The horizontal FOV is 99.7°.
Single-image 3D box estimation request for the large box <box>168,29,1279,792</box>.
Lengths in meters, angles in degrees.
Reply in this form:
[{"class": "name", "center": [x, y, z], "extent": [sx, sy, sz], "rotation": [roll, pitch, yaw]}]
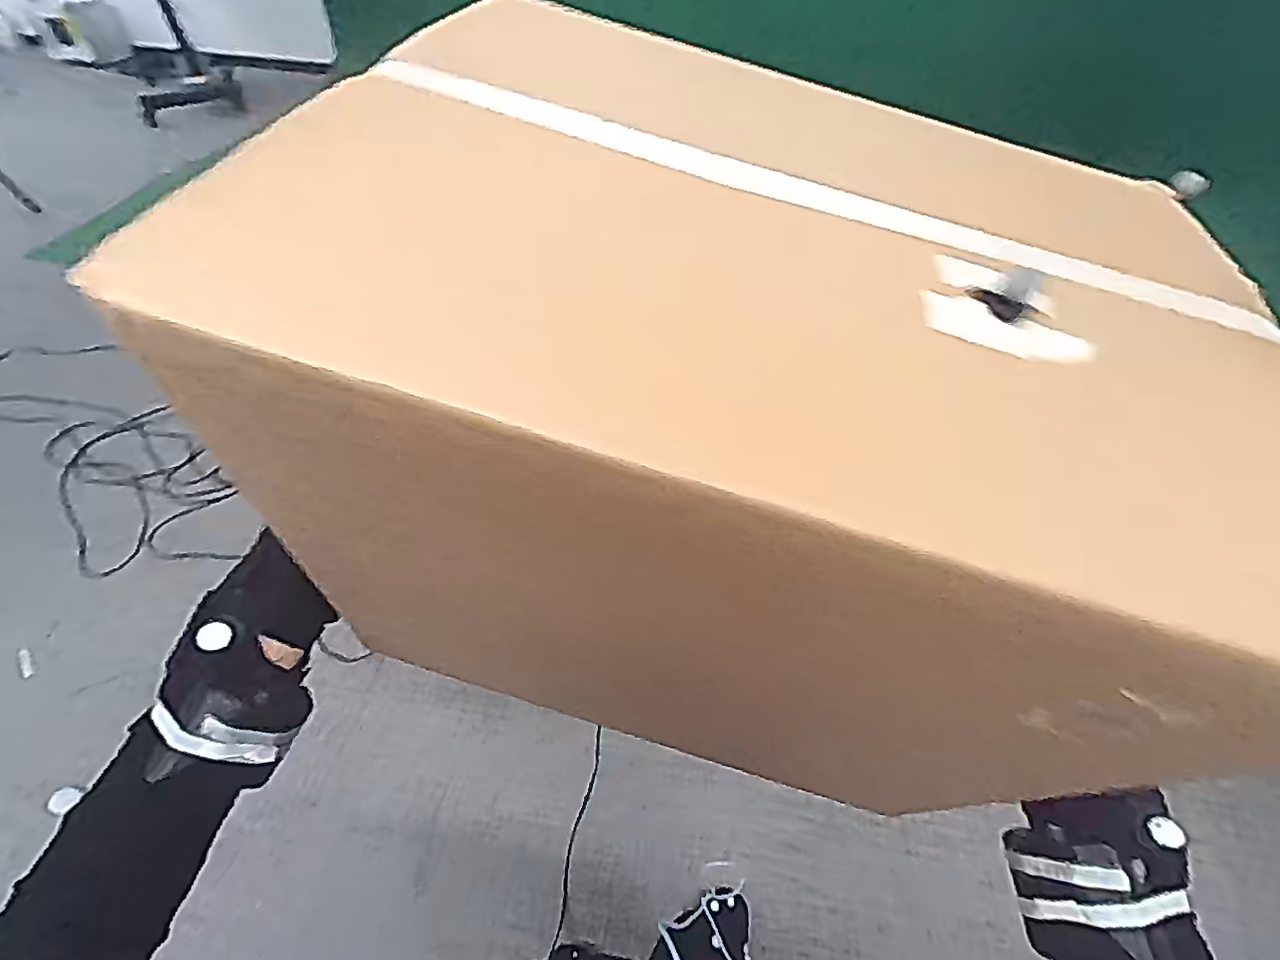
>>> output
[{"class": "large box", "center": [0.054, -0.028, 0.368], "extent": [0.408, 0.320, 0.320], "rotation": [18, 54, 1]}]
